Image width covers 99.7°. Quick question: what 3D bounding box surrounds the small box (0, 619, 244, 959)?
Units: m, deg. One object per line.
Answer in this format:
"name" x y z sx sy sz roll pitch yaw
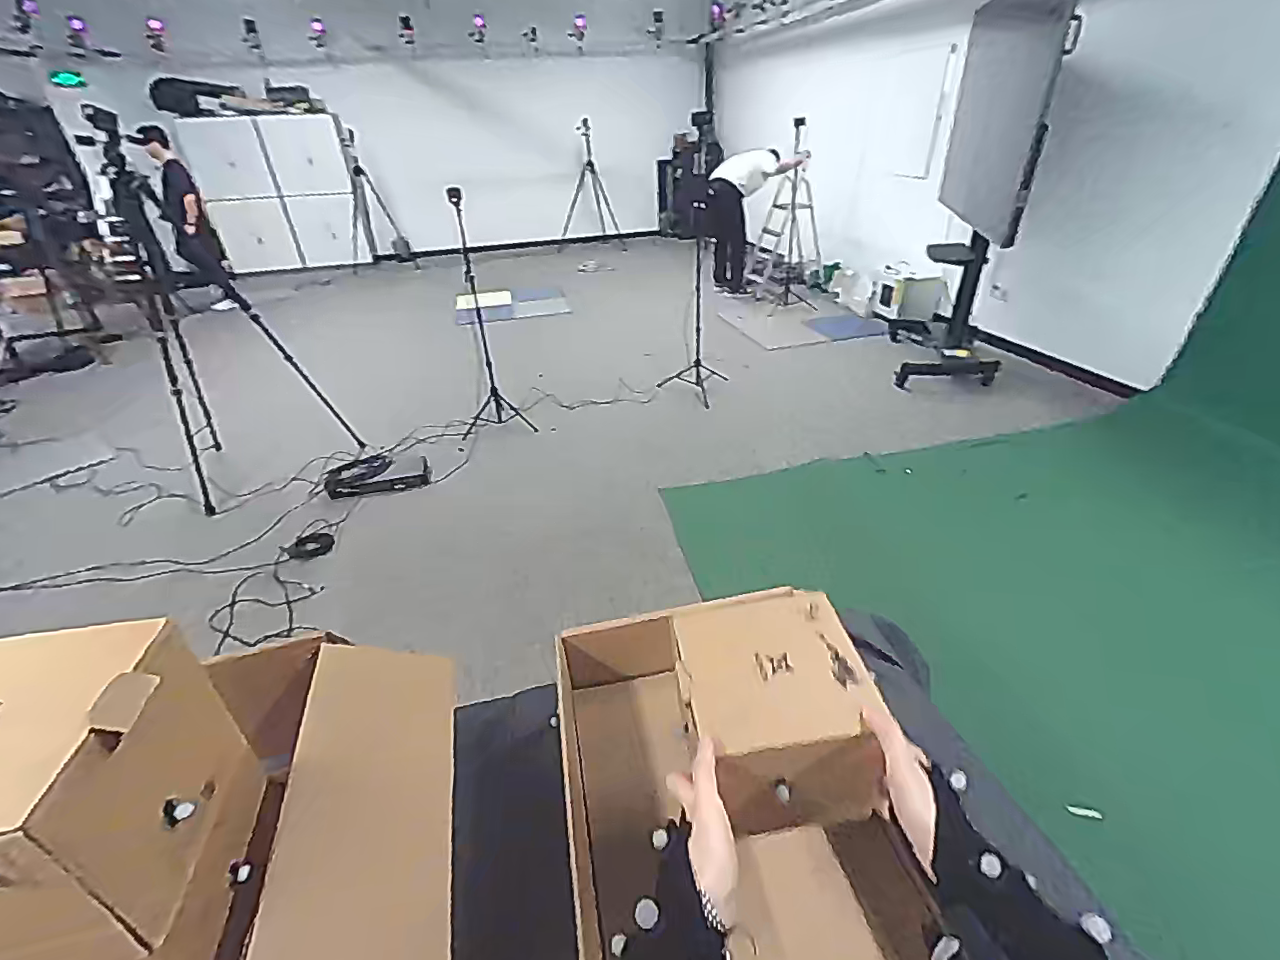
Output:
"small box" -0.434 0.228 0.387 0.179 0.176 0.168 -5 31 -12

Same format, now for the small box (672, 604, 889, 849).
"small box" 0.138 0.263 0.581 0.179 0.176 0.168 -9 33 -2
